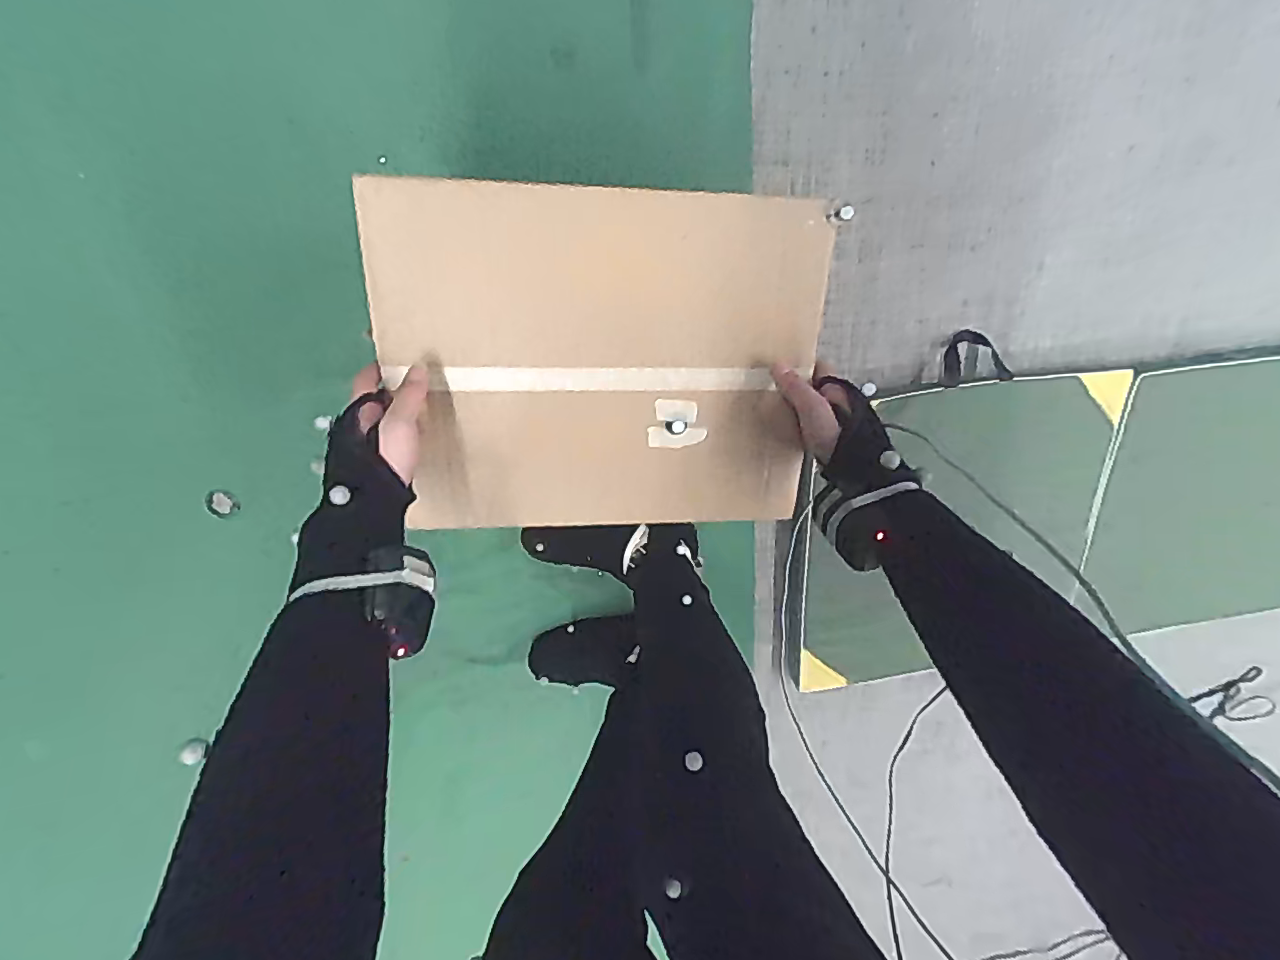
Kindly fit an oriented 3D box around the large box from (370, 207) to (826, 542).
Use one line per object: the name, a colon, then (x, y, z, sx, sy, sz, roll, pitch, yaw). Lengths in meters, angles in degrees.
large box: (-0.047, -0.140, 0.657, 0.408, 0.320, 0.320, -2, 112, -7)
